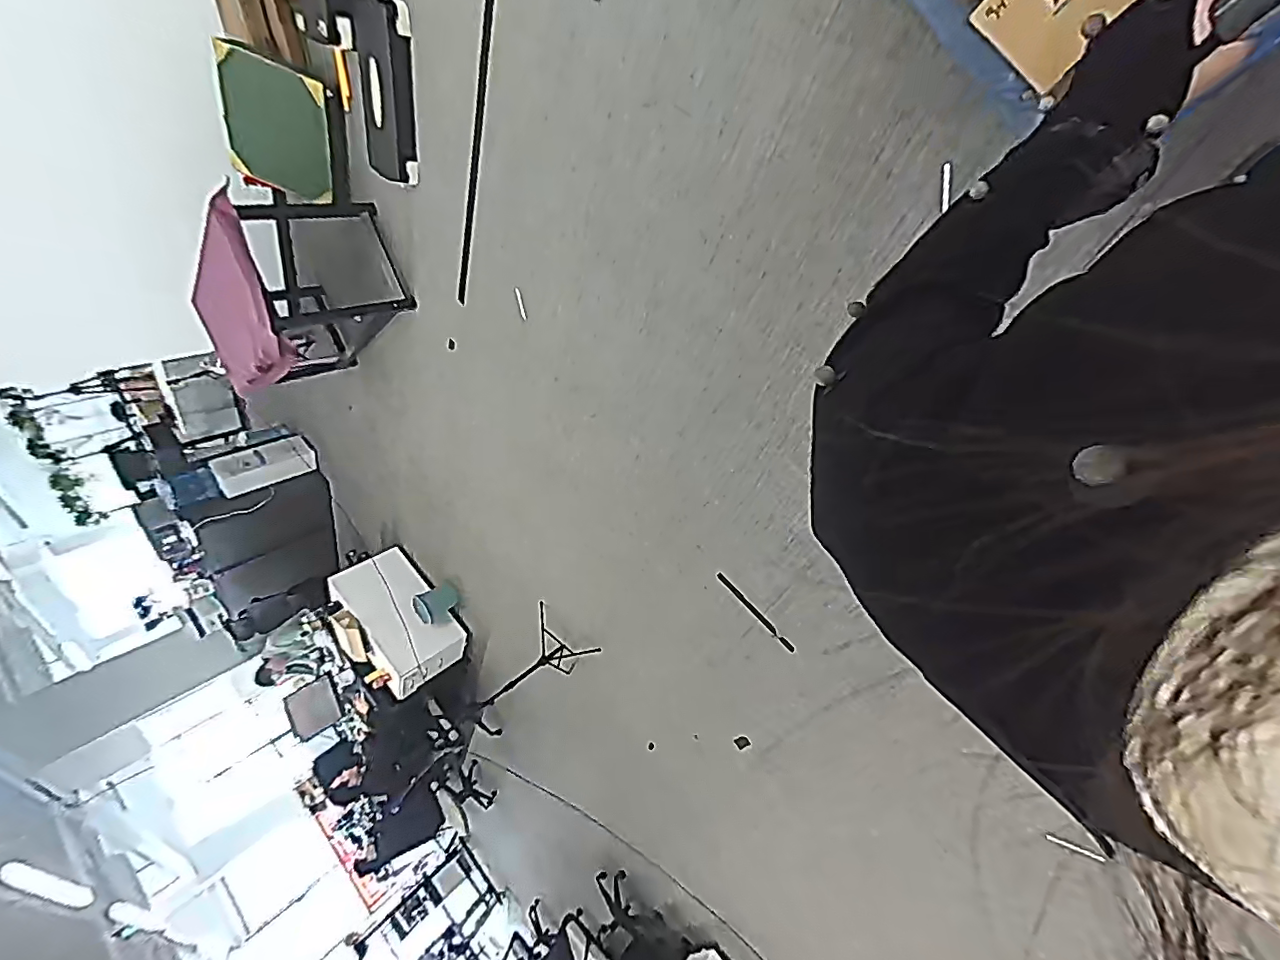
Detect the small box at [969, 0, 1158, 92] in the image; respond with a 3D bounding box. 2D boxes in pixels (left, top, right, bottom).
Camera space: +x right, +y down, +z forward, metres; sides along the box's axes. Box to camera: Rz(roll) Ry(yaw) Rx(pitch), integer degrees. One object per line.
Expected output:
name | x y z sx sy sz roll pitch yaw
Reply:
small box | 0.650 -0.729 0.823 0.179 0.176 0.168 53 136 7
